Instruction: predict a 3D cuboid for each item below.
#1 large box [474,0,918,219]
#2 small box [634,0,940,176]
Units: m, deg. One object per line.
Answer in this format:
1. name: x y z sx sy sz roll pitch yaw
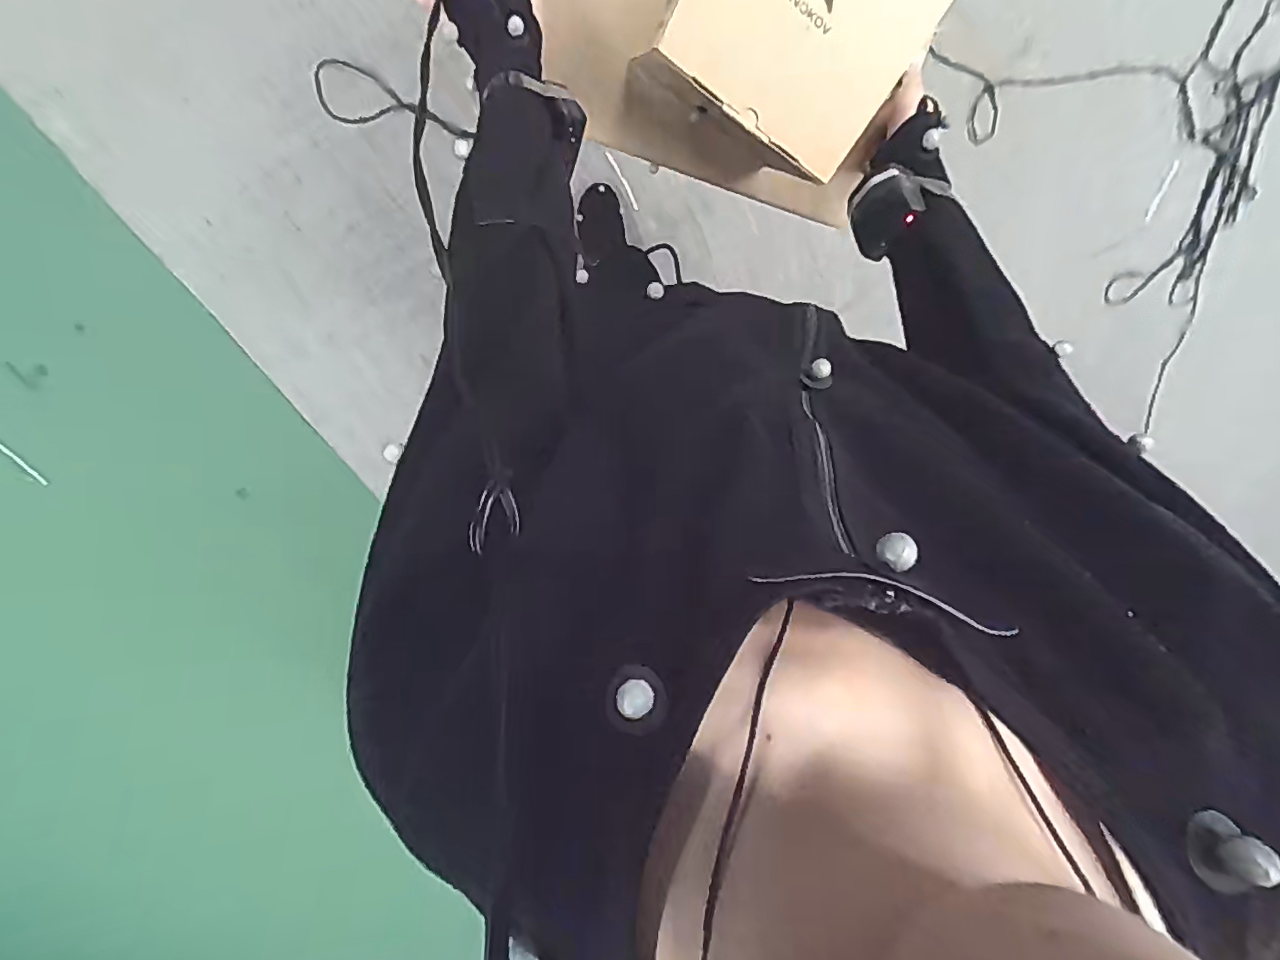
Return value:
1. large box: 0.059 -0.530 0.603 0.408 0.320 0.320 11 121 -14
2. small box: 0.107 -0.376 0.418 0.168 0.176 0.179 22 121 -22
